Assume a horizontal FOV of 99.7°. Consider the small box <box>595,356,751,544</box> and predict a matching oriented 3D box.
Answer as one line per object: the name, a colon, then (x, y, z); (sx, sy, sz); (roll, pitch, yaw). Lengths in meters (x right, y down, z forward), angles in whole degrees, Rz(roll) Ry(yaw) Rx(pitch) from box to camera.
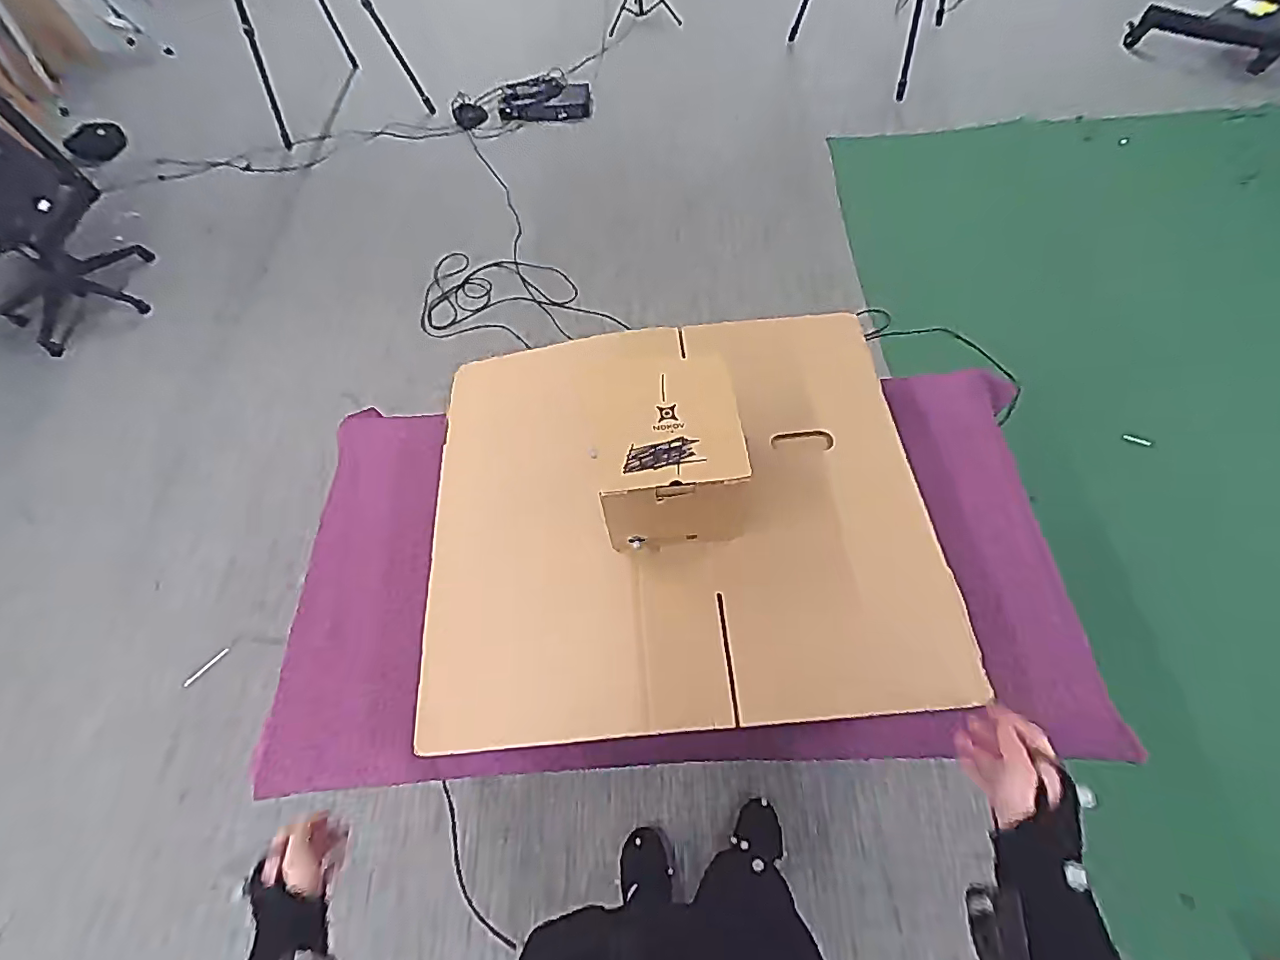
small box: (0.036, -0.027, 0.677); (0.168, 0.176, 0.179); (-5, 61, 0)
